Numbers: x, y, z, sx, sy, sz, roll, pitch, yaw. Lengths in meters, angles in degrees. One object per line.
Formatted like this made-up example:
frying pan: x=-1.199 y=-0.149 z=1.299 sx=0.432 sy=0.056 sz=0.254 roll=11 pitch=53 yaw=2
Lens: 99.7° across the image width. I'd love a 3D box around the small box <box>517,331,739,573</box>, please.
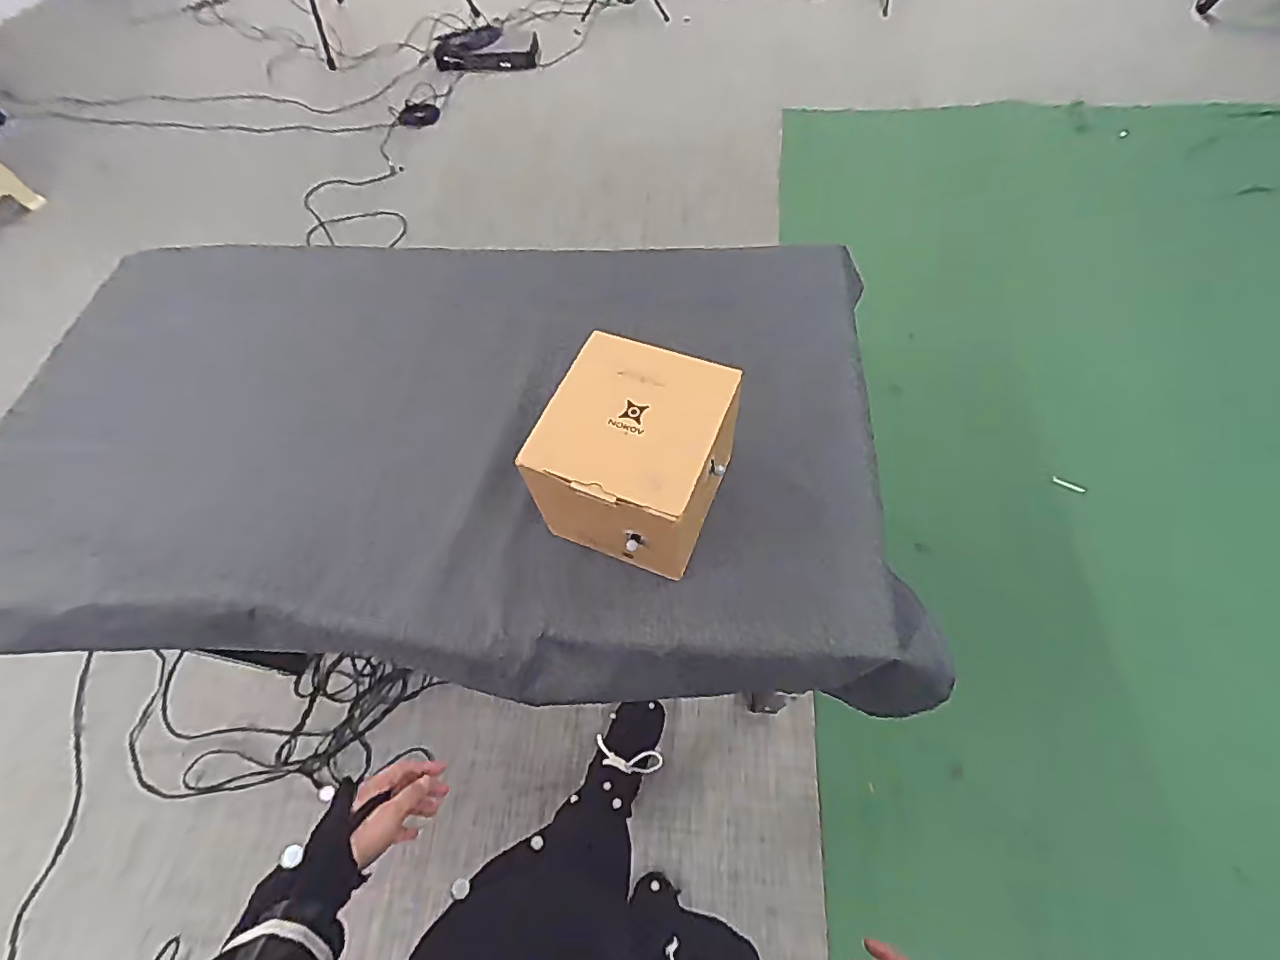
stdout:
small box: x=-0.003 y=-0.023 z=0.584 sx=0.168 sy=0.176 sz=0.179 roll=19 pitch=63 yaw=13
